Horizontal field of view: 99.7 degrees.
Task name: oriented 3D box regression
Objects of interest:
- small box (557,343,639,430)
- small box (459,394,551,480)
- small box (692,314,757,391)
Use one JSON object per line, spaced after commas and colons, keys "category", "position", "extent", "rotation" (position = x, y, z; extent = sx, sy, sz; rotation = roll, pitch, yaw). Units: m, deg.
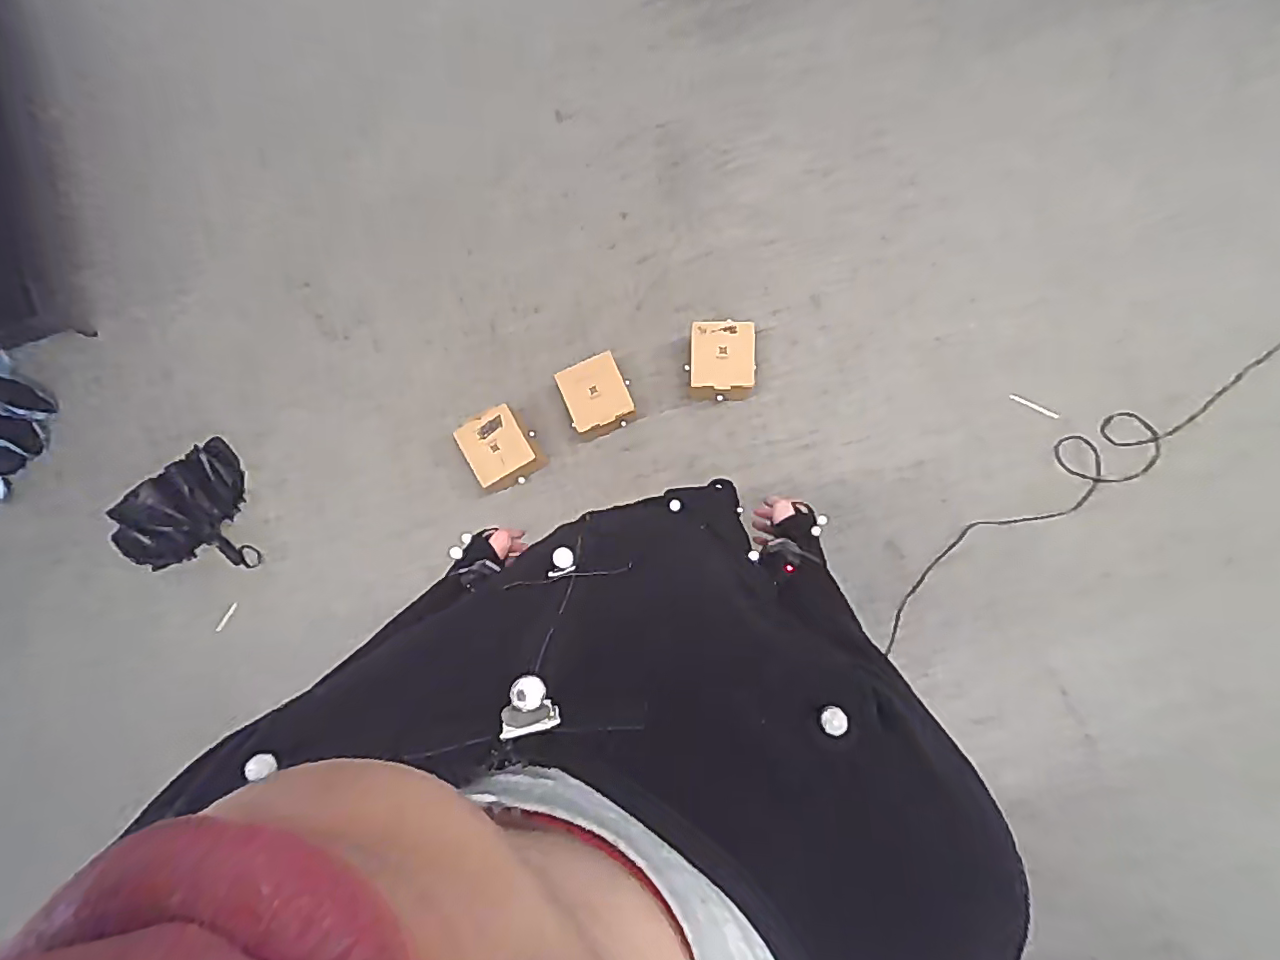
{"category": "small box", "position": [-0.109, -0.251, 1.509], "extent": [0.168, 0.176, 0.179], "rotation": [-24, 85, 2]}
{"category": "small box", "position": [-0.372, -0.114, 1.519], "extent": [0.168, 0.176, 0.179], "rotation": [-30, 86, 3]}
{"category": "small box", "position": [0.228, -0.343, 1.485], "extent": [0.168, 0.176, 0.179], "rotation": [1, 88, 5]}
